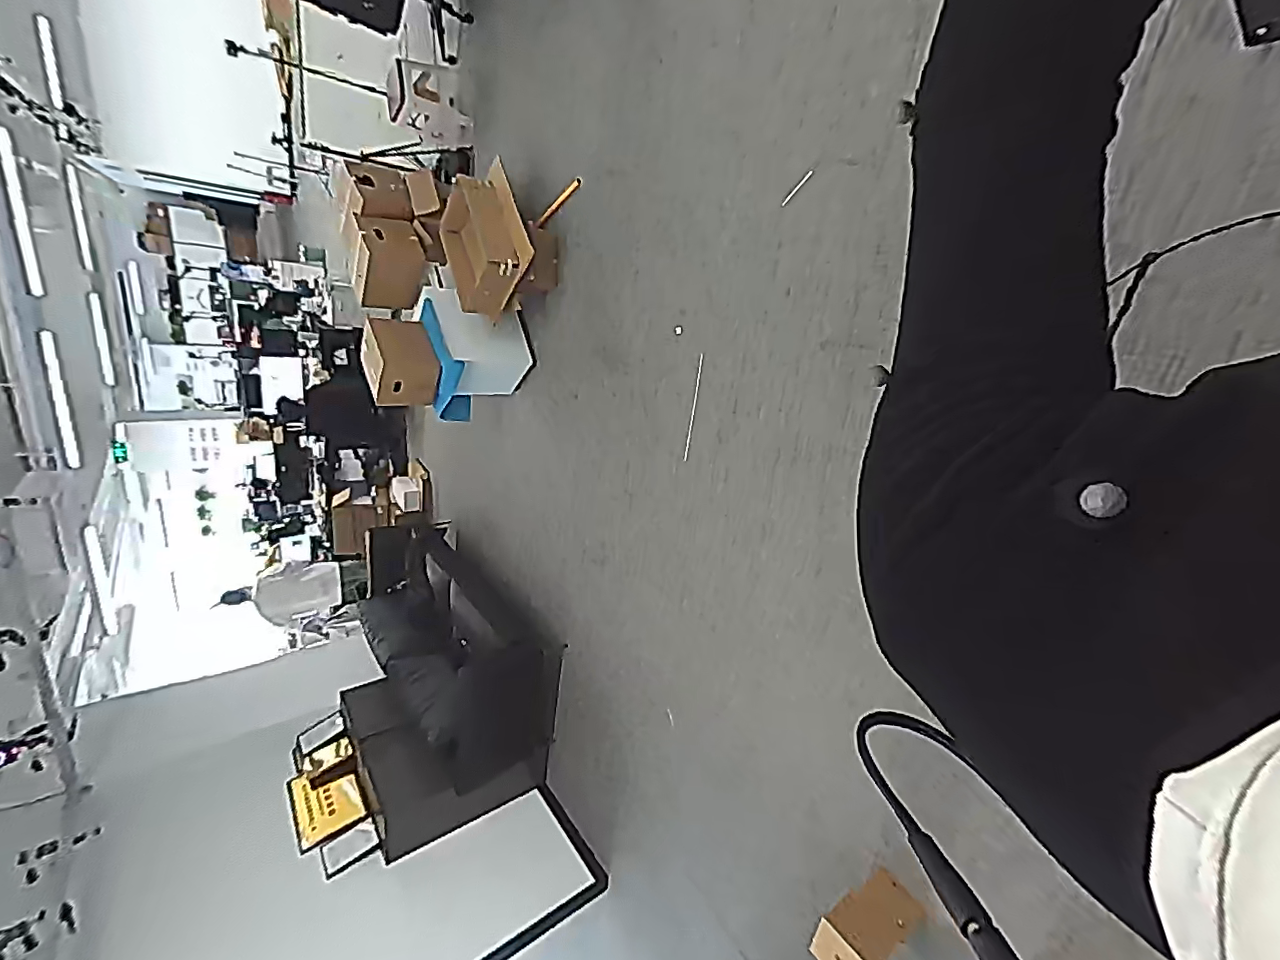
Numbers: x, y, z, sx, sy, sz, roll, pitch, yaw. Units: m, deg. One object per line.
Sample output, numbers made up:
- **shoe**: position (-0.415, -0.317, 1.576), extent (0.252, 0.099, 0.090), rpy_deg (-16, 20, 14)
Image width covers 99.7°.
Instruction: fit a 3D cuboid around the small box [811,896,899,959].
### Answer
- **small box**: position (0.674, 1.467, 1.692), extent (0.179, 0.176, 0.168), rpy_deg (31, 119, 46)
